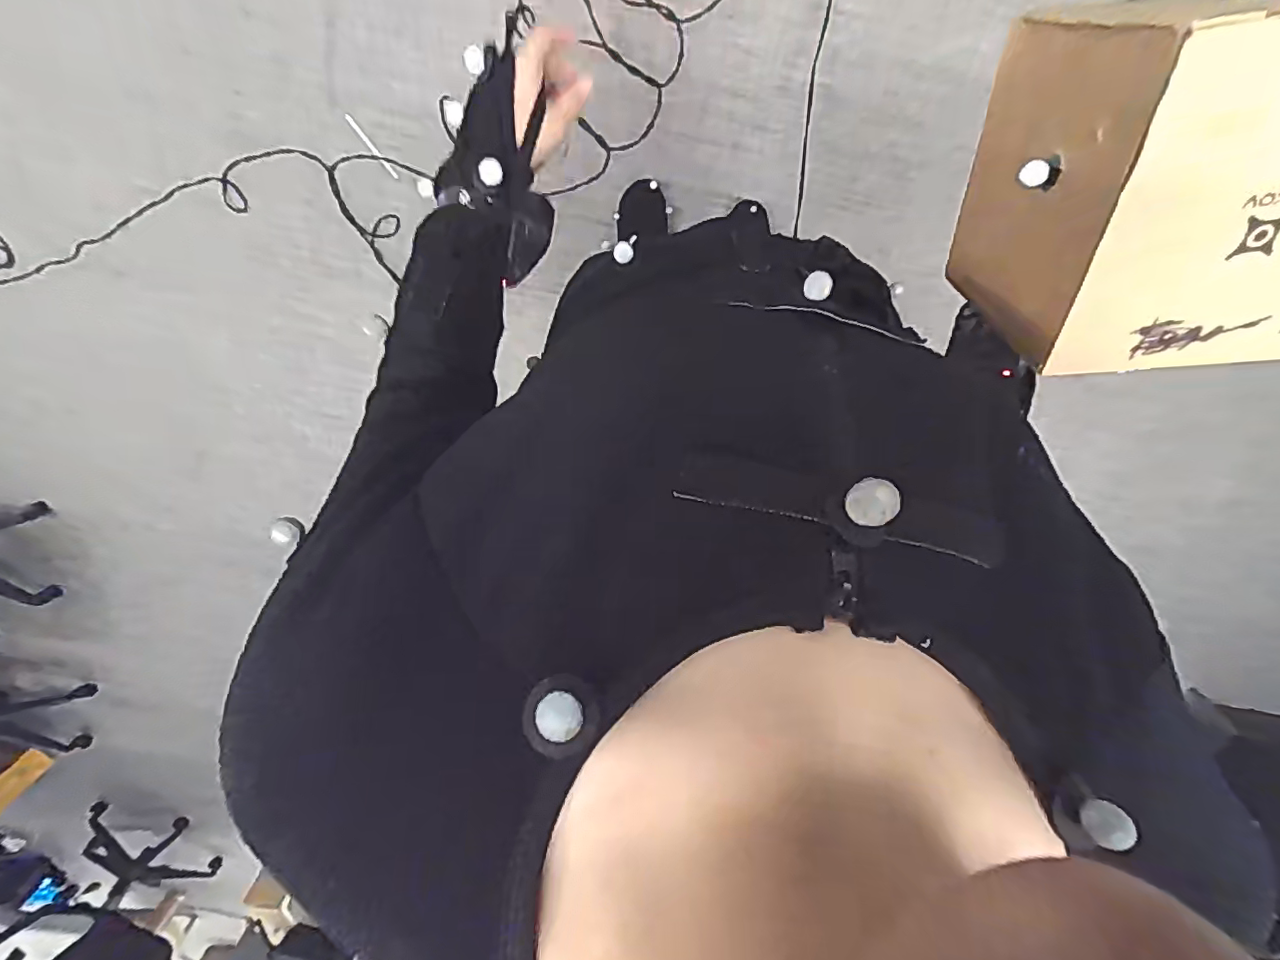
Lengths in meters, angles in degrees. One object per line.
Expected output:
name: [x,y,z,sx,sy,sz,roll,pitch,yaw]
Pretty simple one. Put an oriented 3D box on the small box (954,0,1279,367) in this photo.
small box: [0.331,-0.195,0.346,0.168,0.176,0.179,-3,131,7]
